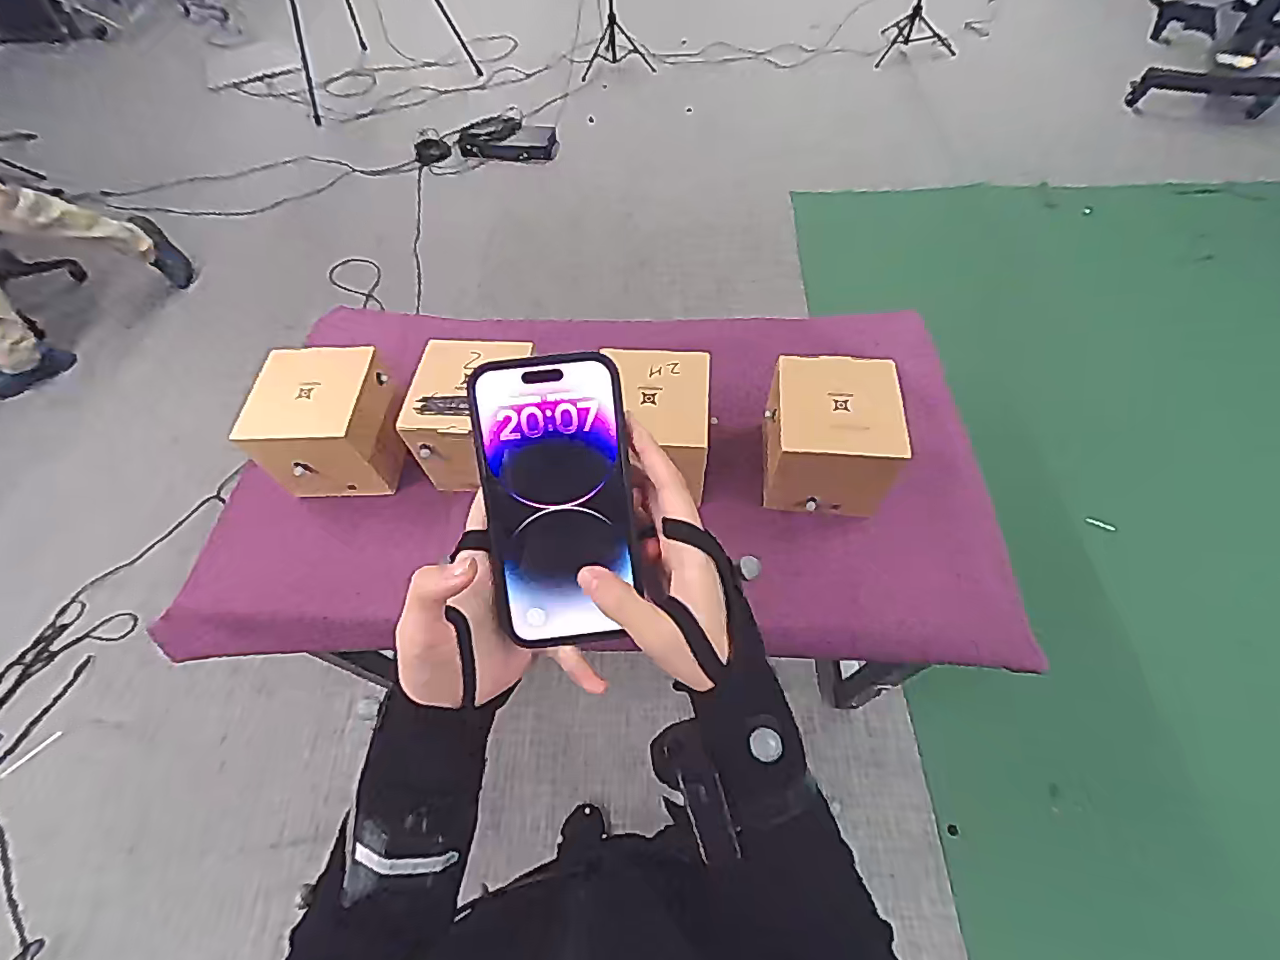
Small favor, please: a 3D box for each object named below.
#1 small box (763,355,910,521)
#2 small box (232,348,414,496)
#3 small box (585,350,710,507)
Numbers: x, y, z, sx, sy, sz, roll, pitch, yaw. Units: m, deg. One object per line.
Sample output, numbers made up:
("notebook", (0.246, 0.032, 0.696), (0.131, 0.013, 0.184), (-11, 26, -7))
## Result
("small box", (0.278, -0.061, 0.807), (0.168, 0.176, 0.179), (4, 58, 6))
("small box", (-0.482, -0.084, 0.857), (0.168, 0.176, 0.179), (-2, 57, 2))
("small box", (0.018, -0.074, 0.826), (0.168, 0.176, 0.179), (4, 58, 4))
